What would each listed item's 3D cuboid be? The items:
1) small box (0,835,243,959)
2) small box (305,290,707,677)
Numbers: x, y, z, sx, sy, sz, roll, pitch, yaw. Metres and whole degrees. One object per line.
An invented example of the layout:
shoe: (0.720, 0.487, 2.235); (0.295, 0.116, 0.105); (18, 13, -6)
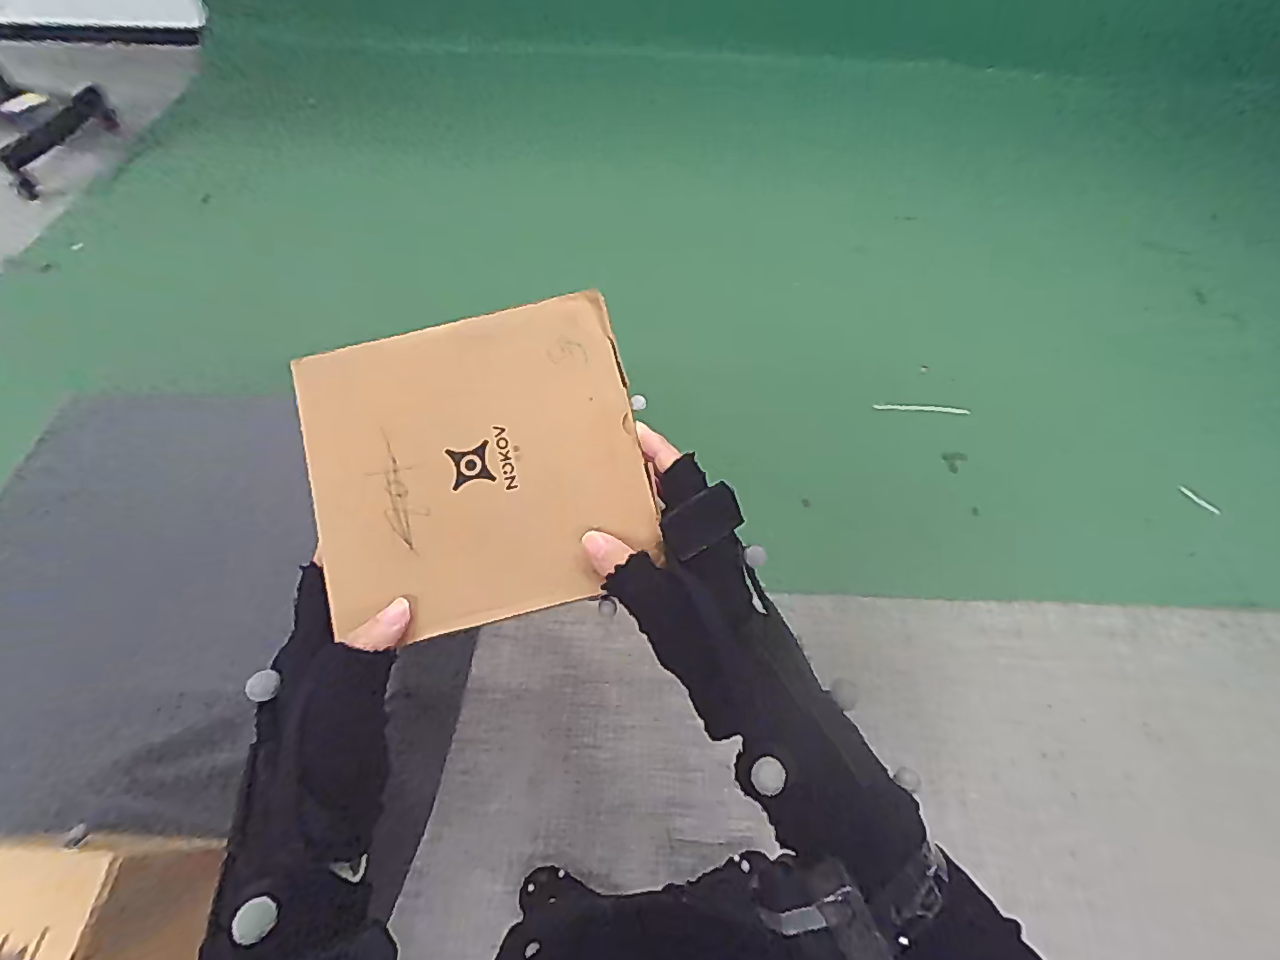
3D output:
small box: (-0.483, 0.395, 0.443); (0.179, 0.176, 0.168); (2, 58, 1)
small box: (-0.074, 0.010, 0.357); (0.179, 0.176, 0.168); (-18, 79, -4)
